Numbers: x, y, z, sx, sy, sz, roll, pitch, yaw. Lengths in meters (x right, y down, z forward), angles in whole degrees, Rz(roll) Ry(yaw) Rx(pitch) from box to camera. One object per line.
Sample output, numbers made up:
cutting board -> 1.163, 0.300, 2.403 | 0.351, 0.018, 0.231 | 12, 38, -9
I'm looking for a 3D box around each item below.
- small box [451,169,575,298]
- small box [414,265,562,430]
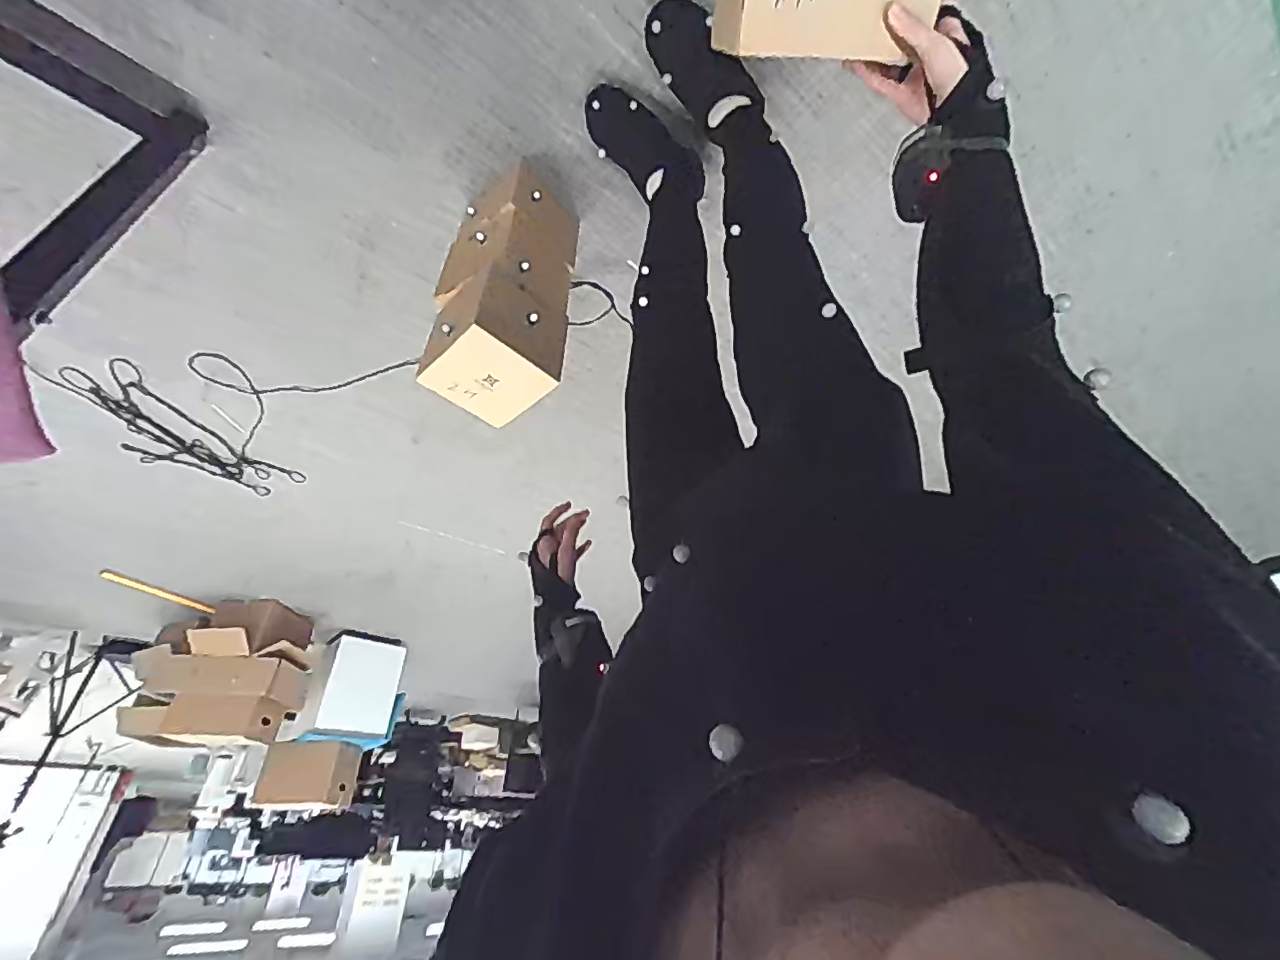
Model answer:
small box -> -0.250, -0.491, 1.097 | 0.168, 0.176, 0.179 | -21, 141, 28
small box -> -0.247, -0.221, 0.913 | 0.179, 0.176, 0.168 | -26, 137, 34
